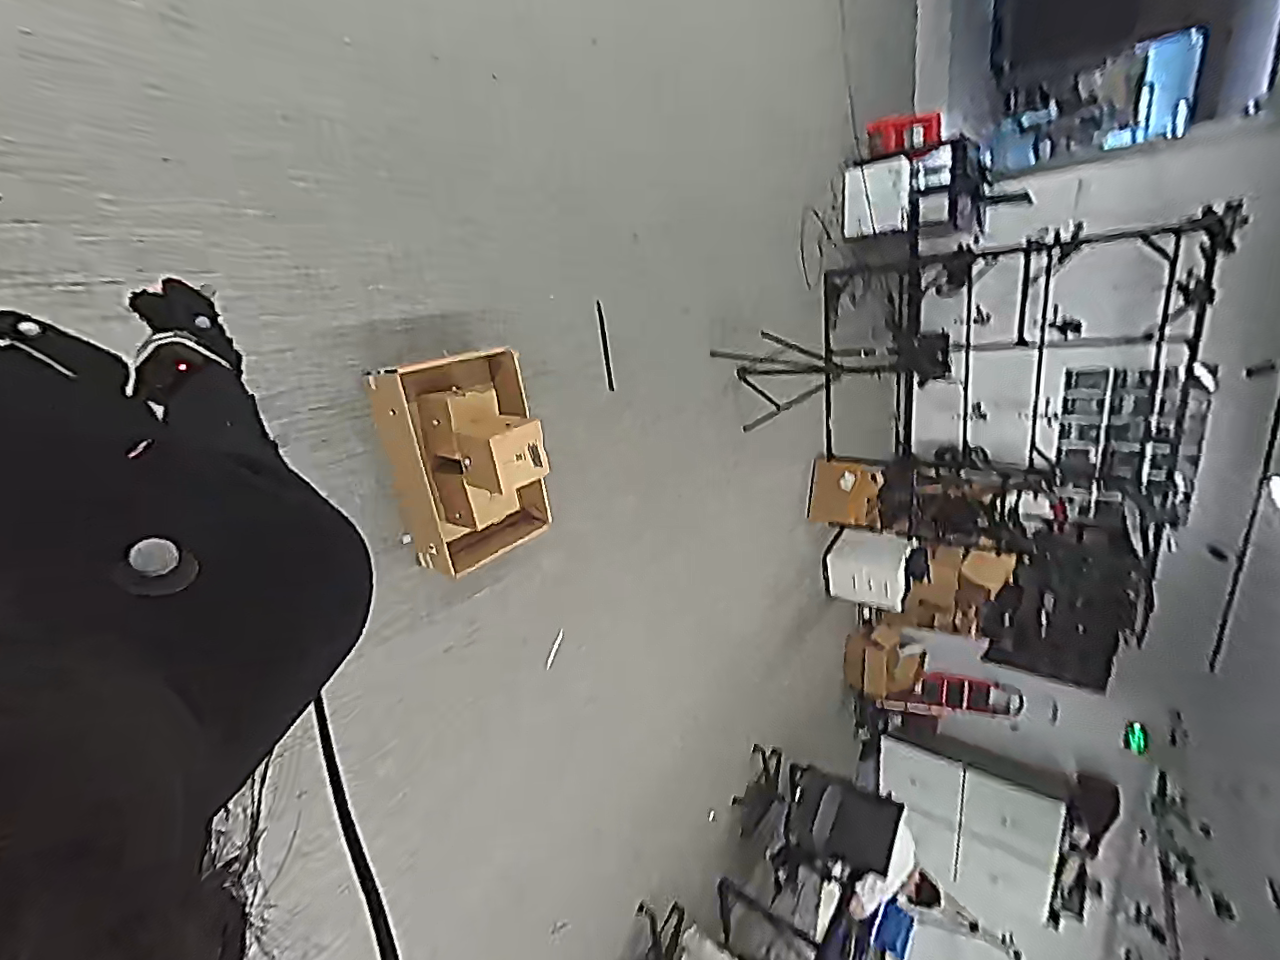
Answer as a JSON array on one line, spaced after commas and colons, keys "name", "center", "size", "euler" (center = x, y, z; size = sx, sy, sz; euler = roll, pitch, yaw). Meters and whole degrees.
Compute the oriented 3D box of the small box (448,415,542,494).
[{"name": "small box", "center": [-0.408, -0.080, 1.527], "size": [0.179, 0.176, 0.168], "euler": [-31, 122, -44]}]
